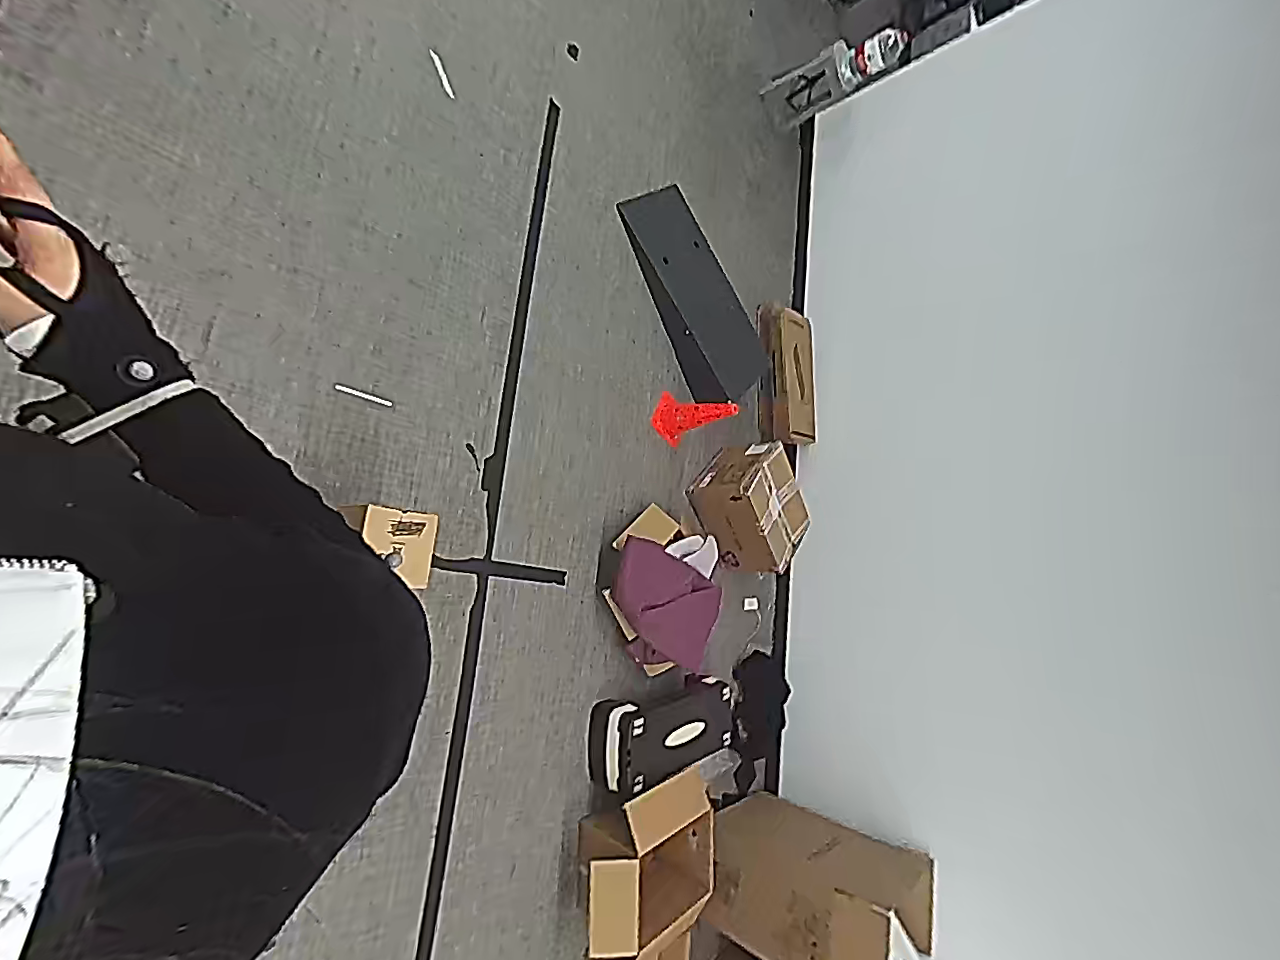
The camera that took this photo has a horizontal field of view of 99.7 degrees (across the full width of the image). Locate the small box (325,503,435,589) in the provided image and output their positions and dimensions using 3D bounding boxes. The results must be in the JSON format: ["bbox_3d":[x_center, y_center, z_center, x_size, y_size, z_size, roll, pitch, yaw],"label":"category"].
[{"bbox_3d":[-0.607,0.154,1.260,0.168,0.176,0.179,17,75,-46],"label":"small box"}]
